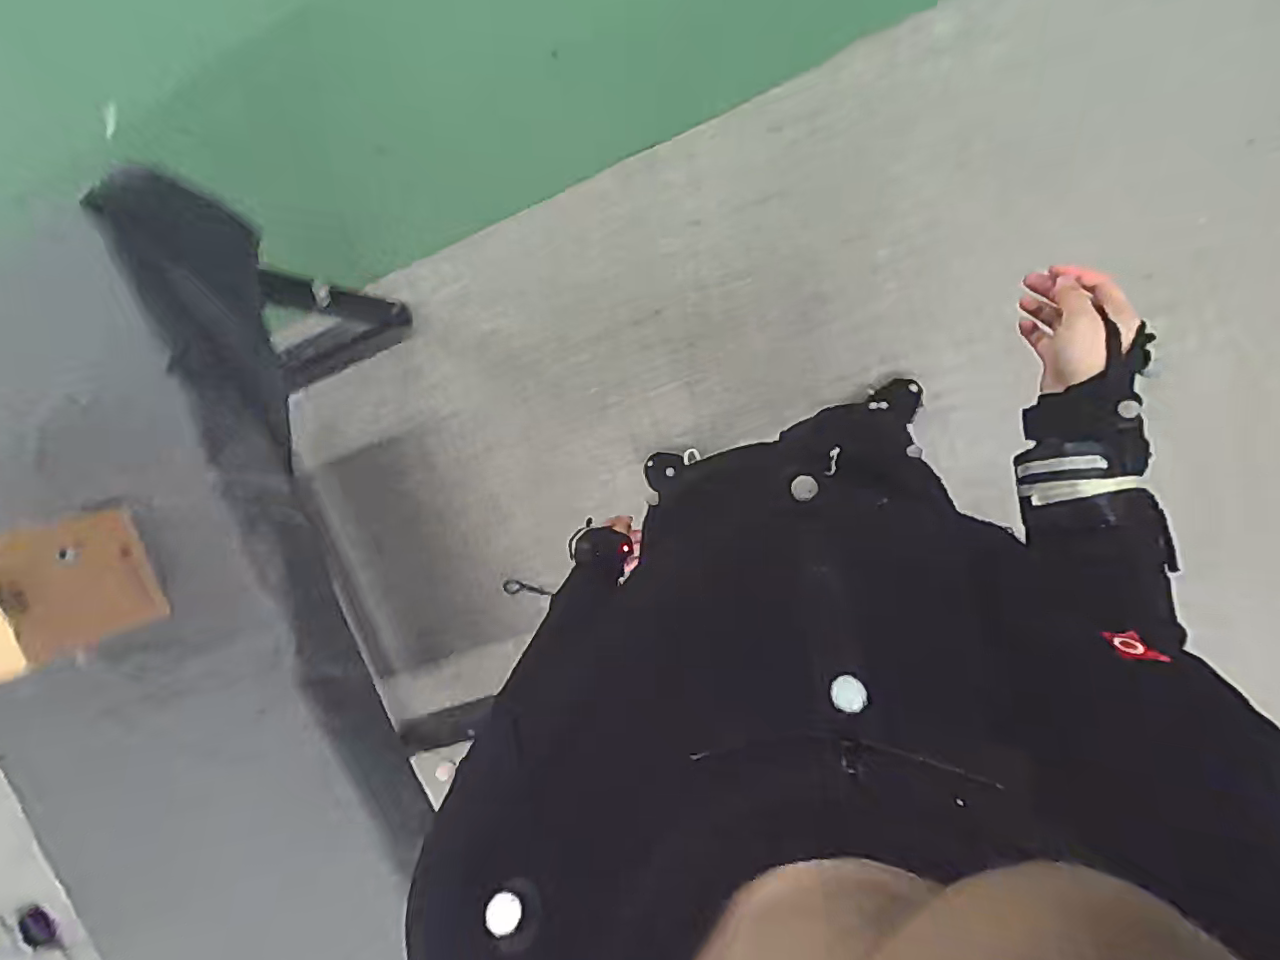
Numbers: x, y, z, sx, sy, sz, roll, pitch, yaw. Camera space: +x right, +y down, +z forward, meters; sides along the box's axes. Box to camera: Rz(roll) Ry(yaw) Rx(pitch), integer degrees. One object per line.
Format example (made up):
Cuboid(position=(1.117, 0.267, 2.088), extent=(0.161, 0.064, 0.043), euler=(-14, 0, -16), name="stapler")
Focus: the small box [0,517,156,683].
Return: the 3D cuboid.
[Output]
Cuboid(position=(-0.796, 0.159, 0.713), extent=(0.179, 0.176, 0.168), euler=(-17, 95, 13), name="small box")
